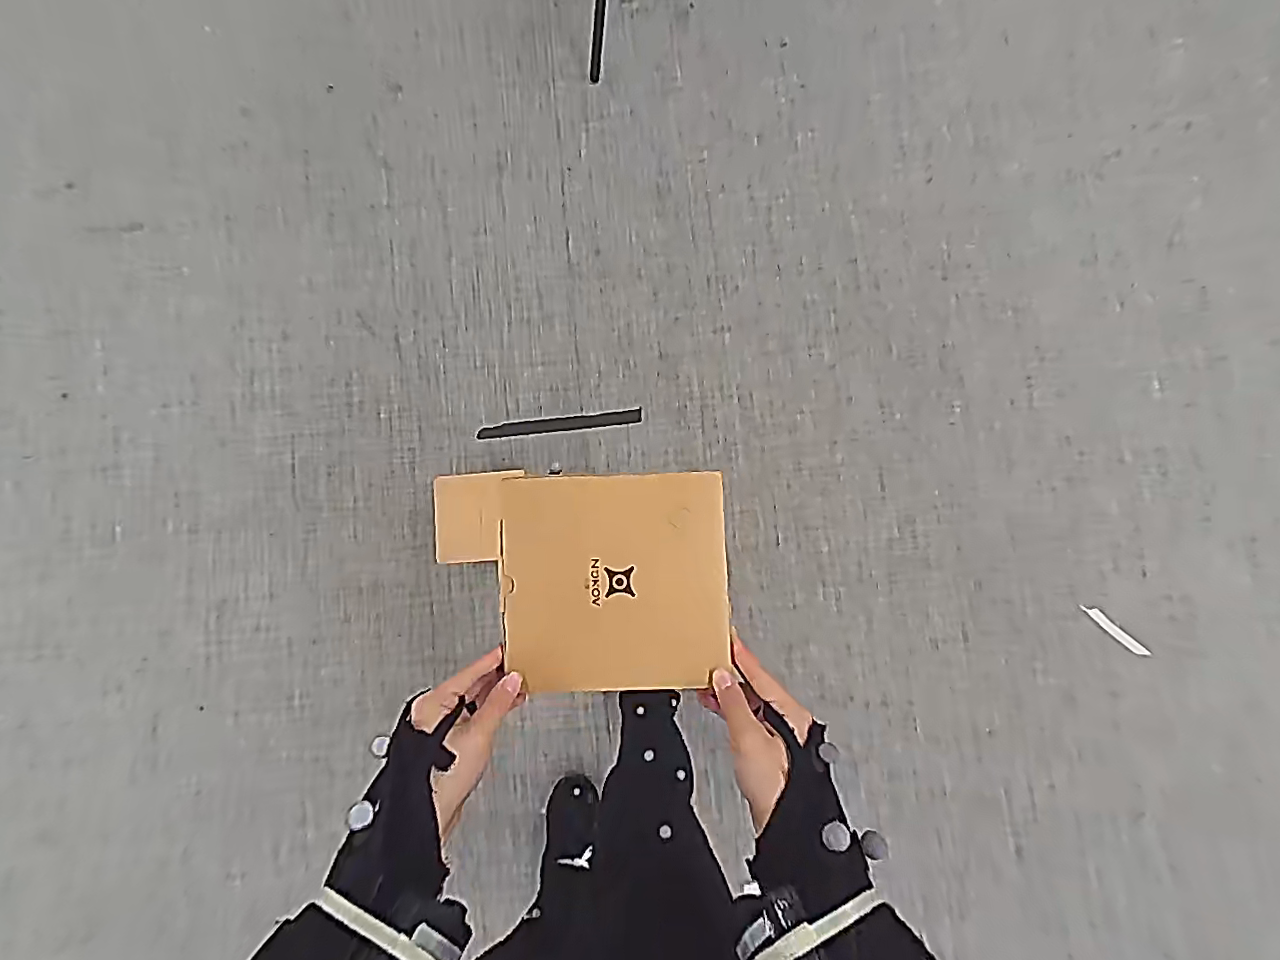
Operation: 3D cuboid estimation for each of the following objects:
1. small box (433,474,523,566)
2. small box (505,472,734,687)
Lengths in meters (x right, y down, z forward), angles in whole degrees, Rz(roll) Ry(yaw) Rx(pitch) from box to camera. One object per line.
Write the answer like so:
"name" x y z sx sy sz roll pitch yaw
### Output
"small box" -0.294 0.081 1.086 0.179 0.176 0.168 -4 84 -1
"small box" -0.016 0.079 0.496 0.179 0.176 0.168 -2 87 2
